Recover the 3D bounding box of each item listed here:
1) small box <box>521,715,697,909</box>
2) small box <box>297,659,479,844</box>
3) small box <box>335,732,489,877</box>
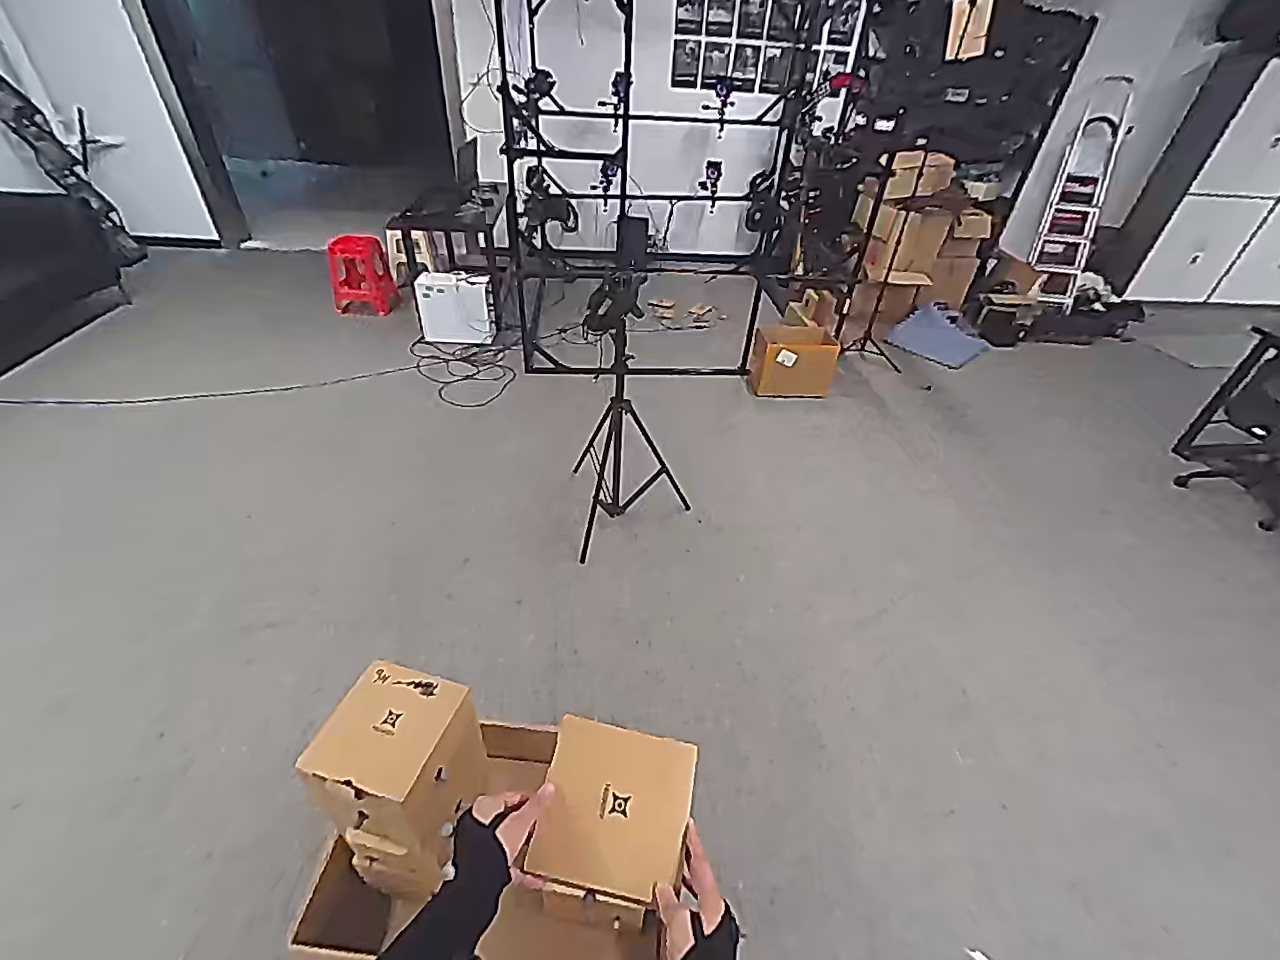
[{"bbox_3d":[-0.036,0.422,0.689,0.179,0.176,0.168,11,52,3],"label":"small box"},{"bbox_3d":[-0.359,0.409,0.814,0.168,0.176,0.179,13,39,10],"label":"small box"},{"bbox_3d":[-0.369,0.535,0.919,0.168,0.176,0.179,10,37,8],"label":"small box"}]
